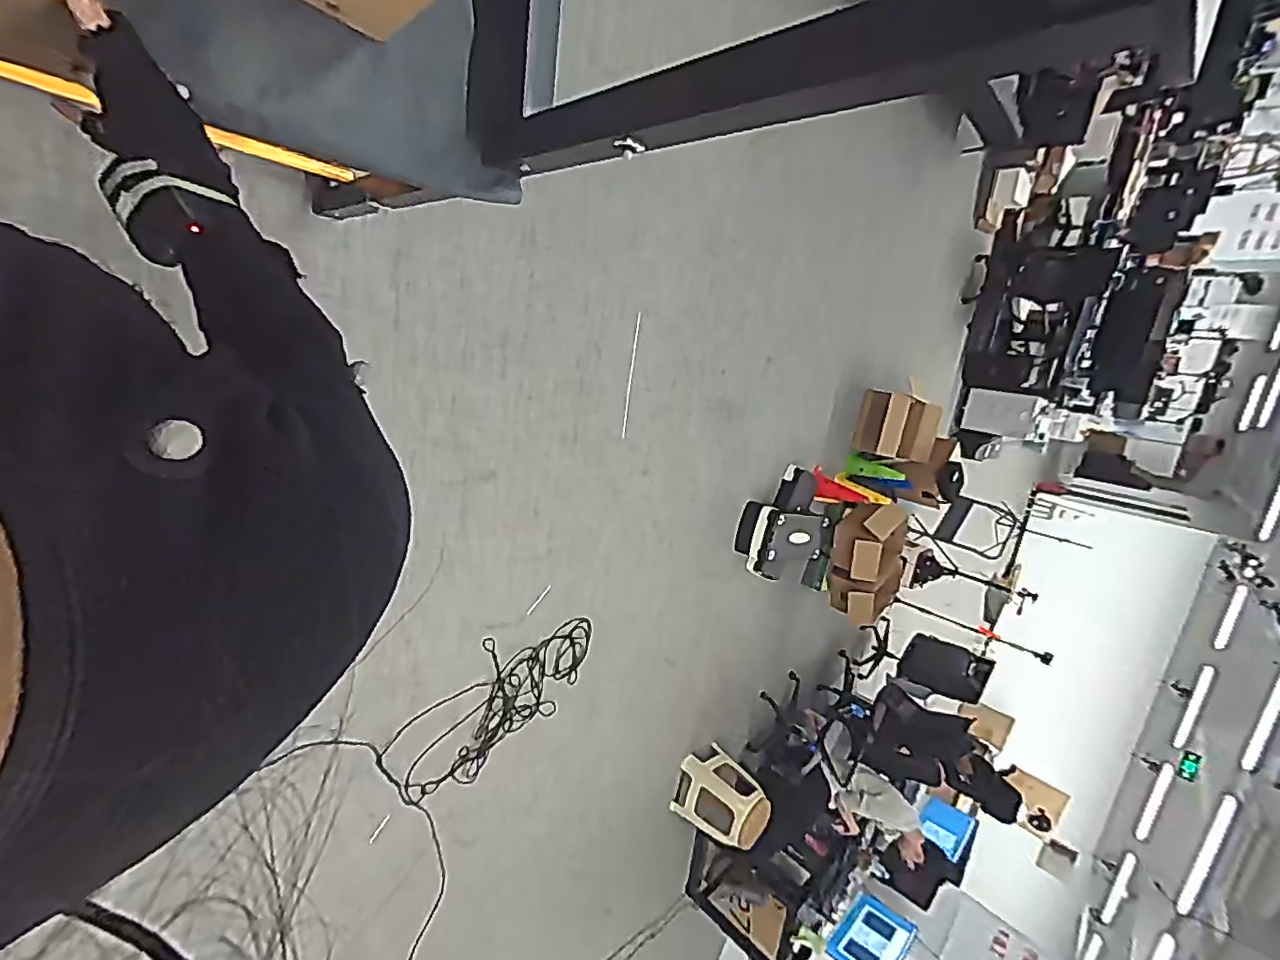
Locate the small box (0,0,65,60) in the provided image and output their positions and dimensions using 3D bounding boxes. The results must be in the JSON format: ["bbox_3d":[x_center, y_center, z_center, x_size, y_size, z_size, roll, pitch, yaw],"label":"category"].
[{"bbox_3d":[-0.490,-0.424,0.346,0.168,0.176,0.179,-3,100,-49],"label":"small box"}]
